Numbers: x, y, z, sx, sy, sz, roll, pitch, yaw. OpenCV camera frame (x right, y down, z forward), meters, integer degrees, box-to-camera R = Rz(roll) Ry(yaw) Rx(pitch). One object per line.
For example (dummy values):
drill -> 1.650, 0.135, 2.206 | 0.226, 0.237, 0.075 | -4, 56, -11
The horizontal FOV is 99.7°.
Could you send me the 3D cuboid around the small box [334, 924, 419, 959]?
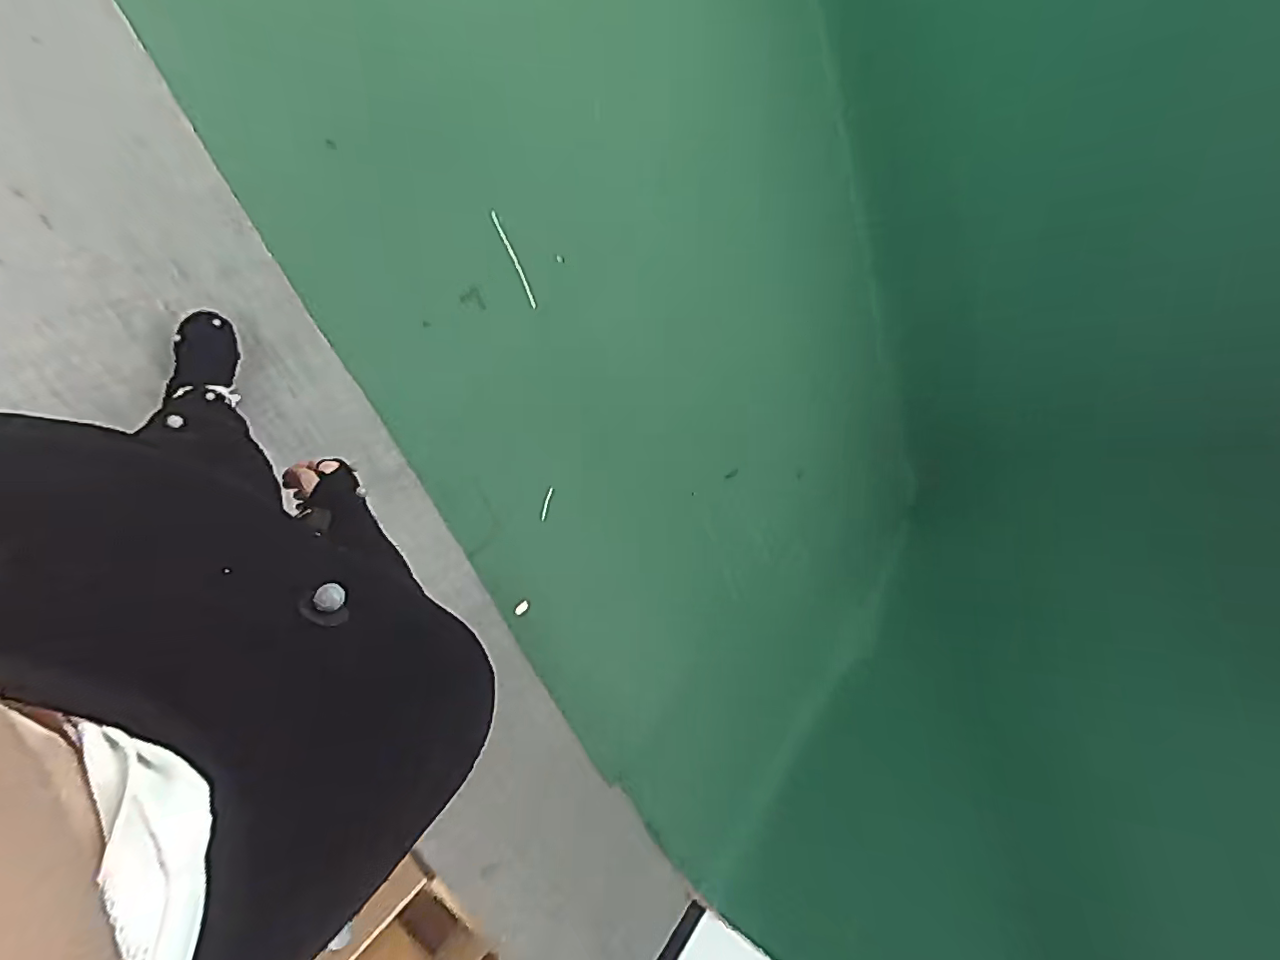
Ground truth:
small box -> -0.440, 0.897, 0.893 | 0.168, 0.176, 0.179 | -38, 119, -34
